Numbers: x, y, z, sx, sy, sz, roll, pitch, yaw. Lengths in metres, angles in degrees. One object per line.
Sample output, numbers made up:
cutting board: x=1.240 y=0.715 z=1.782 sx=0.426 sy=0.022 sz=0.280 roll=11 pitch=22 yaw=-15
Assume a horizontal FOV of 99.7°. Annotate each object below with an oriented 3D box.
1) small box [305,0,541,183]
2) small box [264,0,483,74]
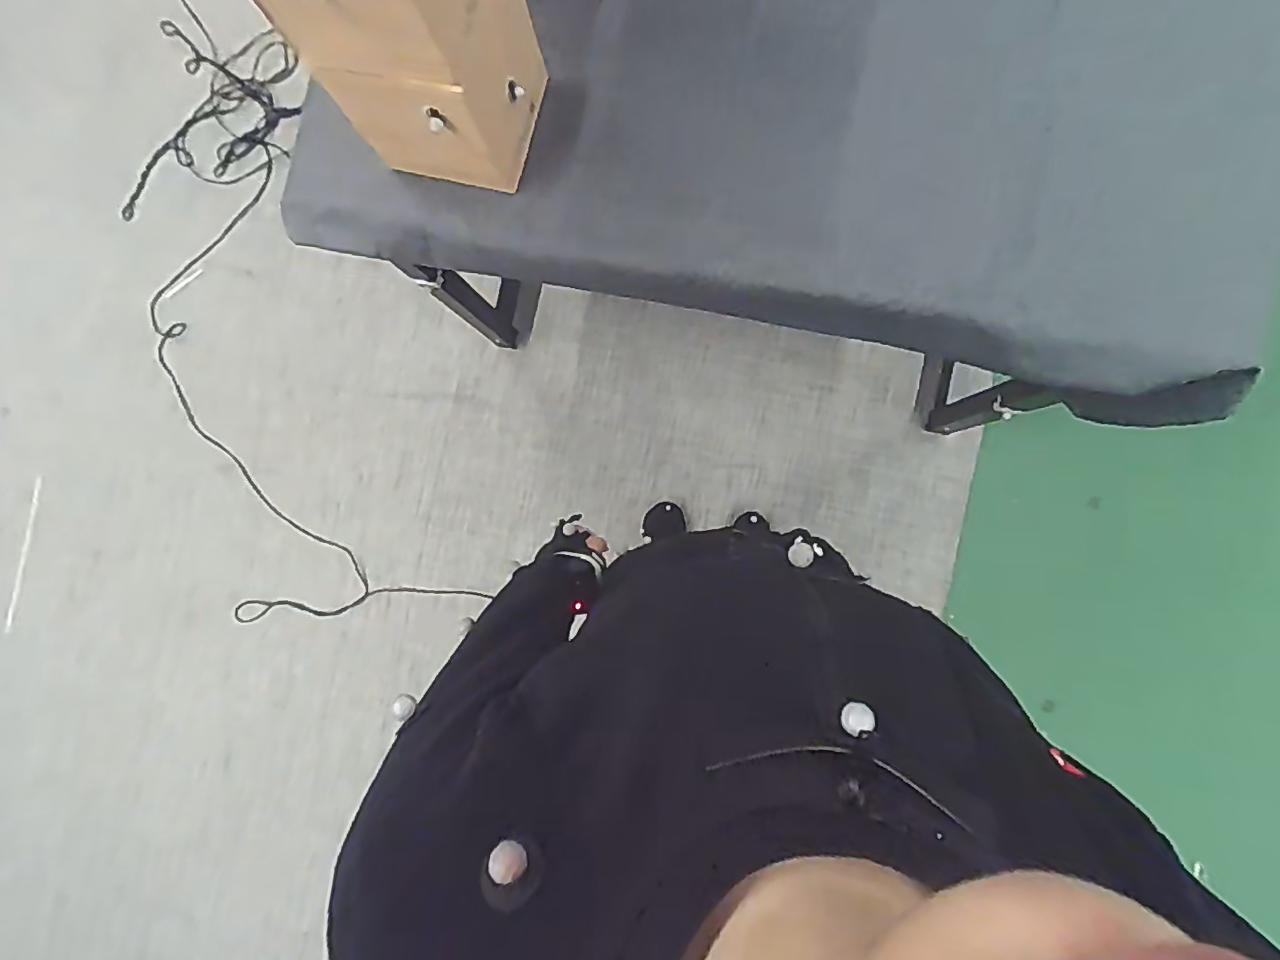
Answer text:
small box: x=-0.228 y=-0.475 z=0.619 sx=0.179 sy=0.176 sz=0.168 roll=14 pitch=87 yaw=6
small box: x=-0.245 y=-0.489 z=0.457 sx=0.179 sy=0.176 sz=0.168 roll=11 pitch=88 yaw=6
